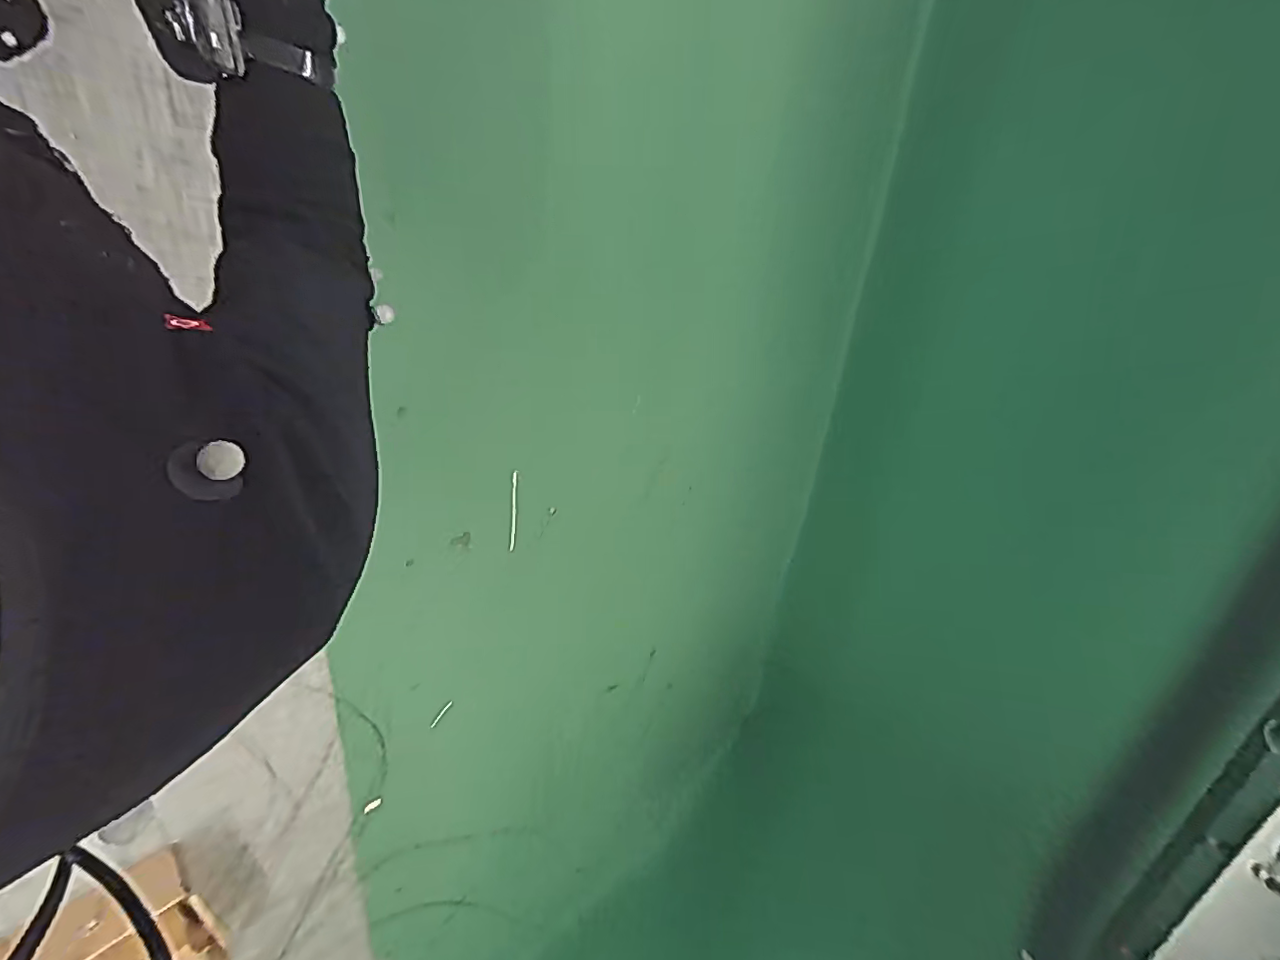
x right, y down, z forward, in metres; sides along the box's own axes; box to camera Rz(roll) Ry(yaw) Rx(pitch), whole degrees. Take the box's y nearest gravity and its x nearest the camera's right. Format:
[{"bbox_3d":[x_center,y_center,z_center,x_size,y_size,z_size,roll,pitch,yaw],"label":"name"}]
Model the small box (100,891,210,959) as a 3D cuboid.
[{"bbox_3d":[-1.275,1.250,1.423,0.179,0.176,0.168,-27,130,-37],"label":"small box"}]
